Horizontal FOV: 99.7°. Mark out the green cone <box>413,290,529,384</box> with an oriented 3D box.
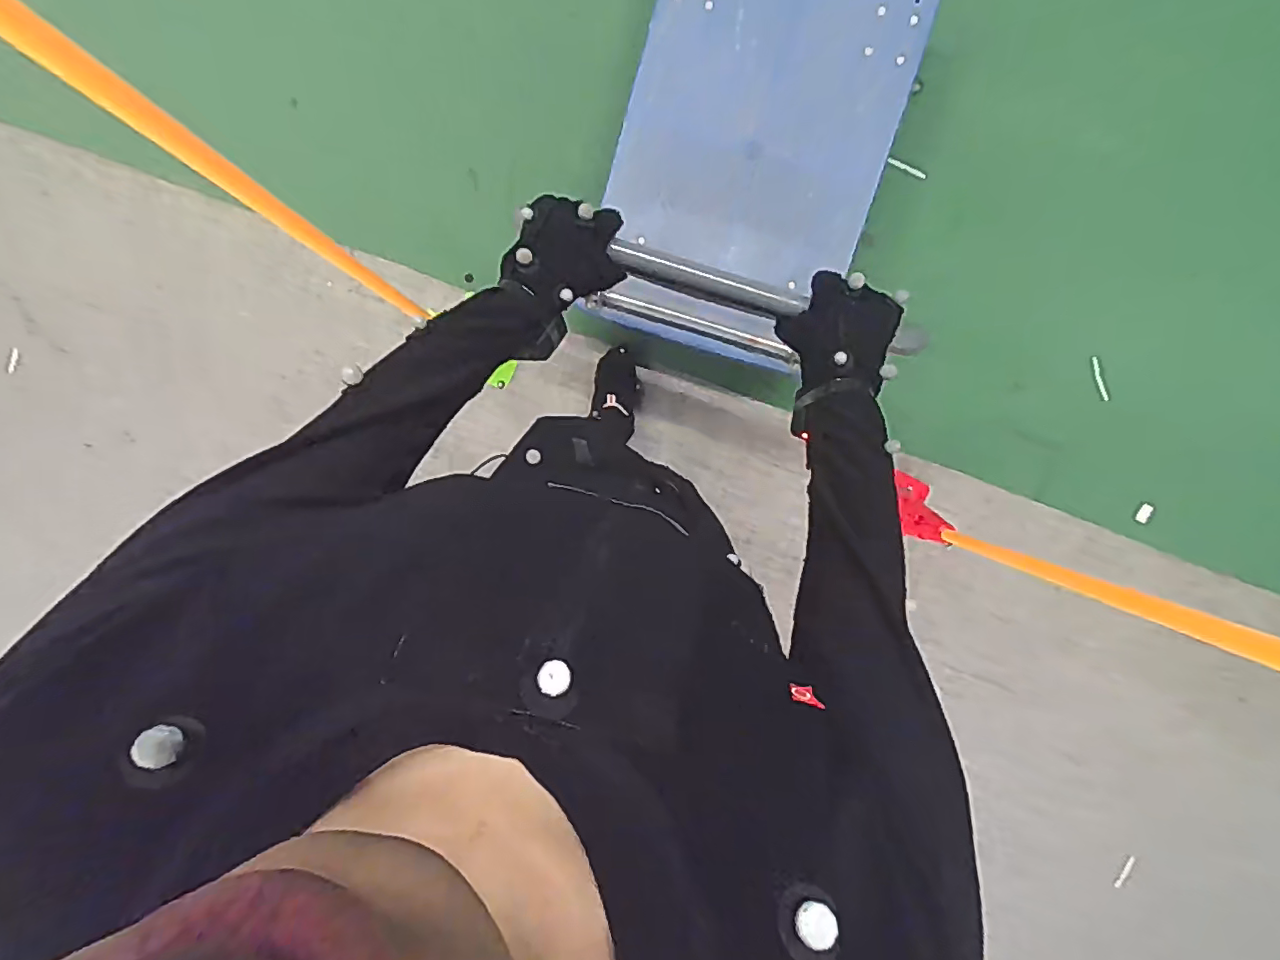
[{"bbox_3d":[-0.425,-0.360,1.271,0.202,0.368,0.200,25,97,0],"label":"green cone"}]
